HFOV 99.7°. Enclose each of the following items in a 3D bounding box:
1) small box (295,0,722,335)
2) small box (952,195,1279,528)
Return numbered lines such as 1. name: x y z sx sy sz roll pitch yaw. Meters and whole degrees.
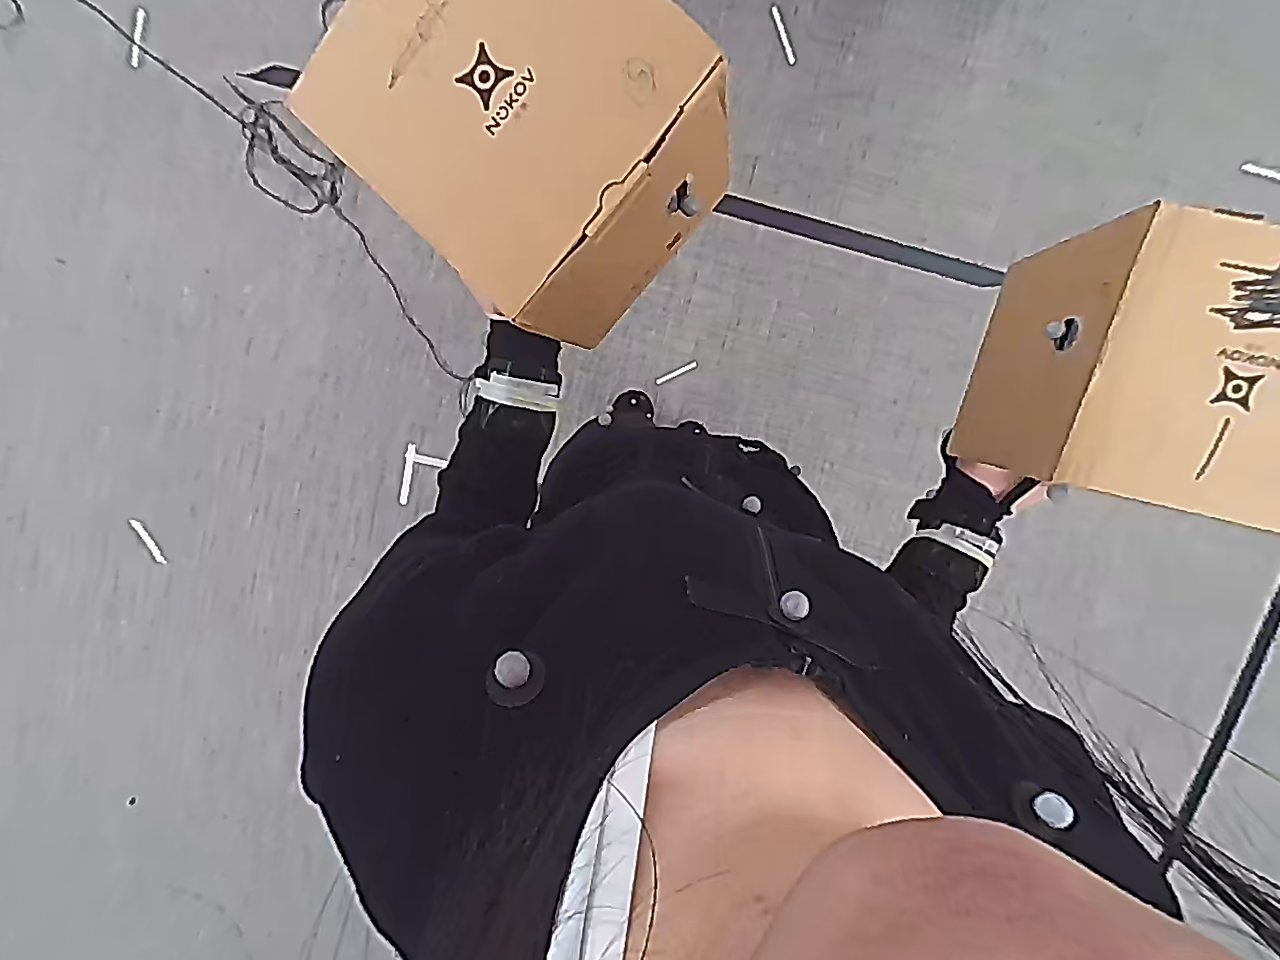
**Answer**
1. small box: -0.061 -0.213 0.355 0.179 0.176 0.168 43 102 2
2. small box: 0.372 -0.081 0.409 0.168 0.176 0.179 14 101 5
